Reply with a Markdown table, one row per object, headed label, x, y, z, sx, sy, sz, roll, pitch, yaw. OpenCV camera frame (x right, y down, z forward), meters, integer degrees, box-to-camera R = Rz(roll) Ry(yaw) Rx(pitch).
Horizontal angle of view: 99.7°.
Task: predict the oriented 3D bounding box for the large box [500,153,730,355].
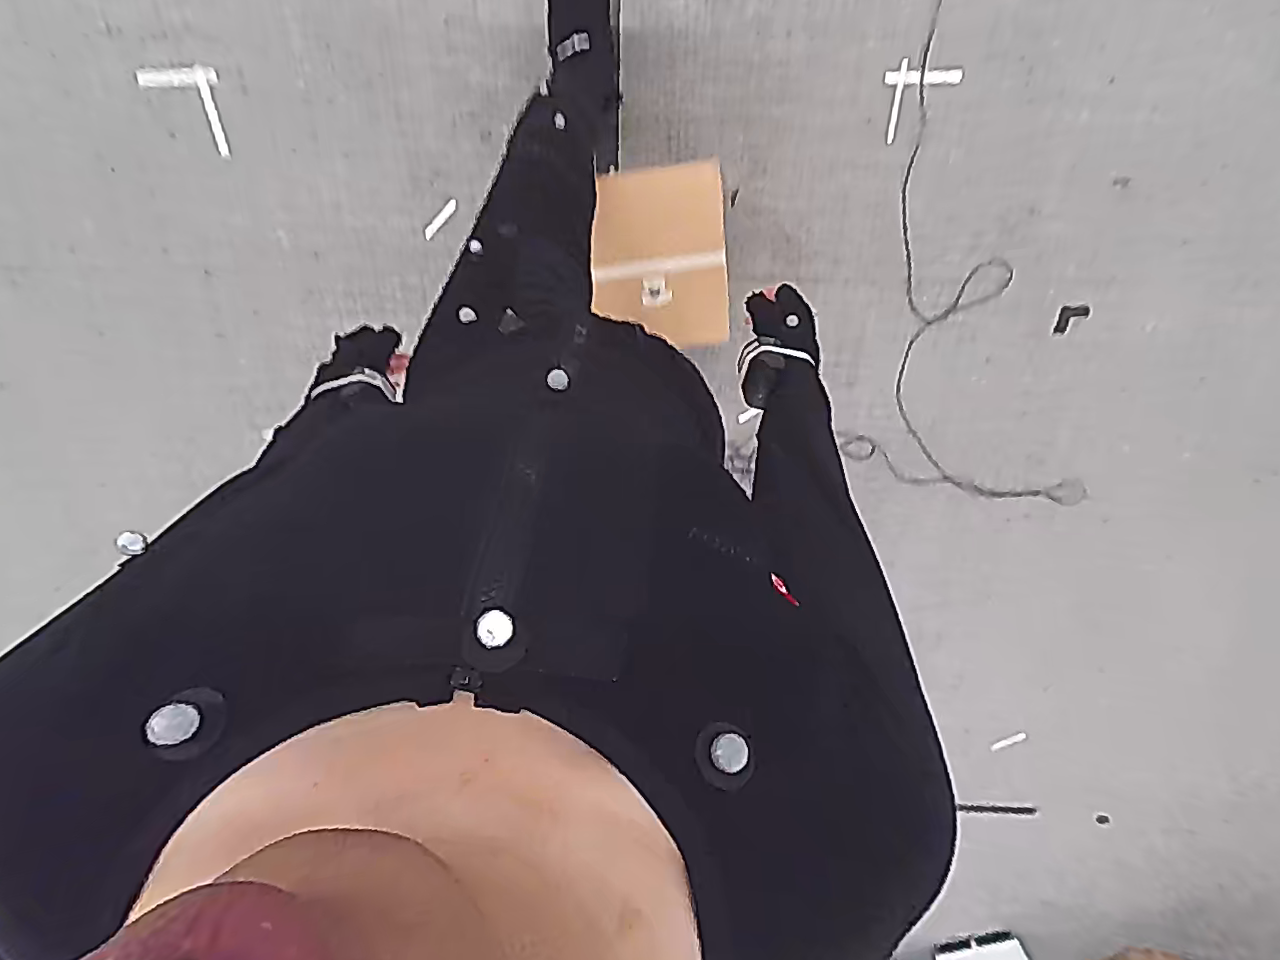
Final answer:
| label | x | y | z | sx | sy | sz | roll | pitch | yaw |
| --- | --- | --- | --- | --- | --- | --- | --- | --- | --- |
| large box | -0.035 | -0.475 | 1.149 | 0.408 | 0.320 | 0.320 | -5 | 117 | 4 |
